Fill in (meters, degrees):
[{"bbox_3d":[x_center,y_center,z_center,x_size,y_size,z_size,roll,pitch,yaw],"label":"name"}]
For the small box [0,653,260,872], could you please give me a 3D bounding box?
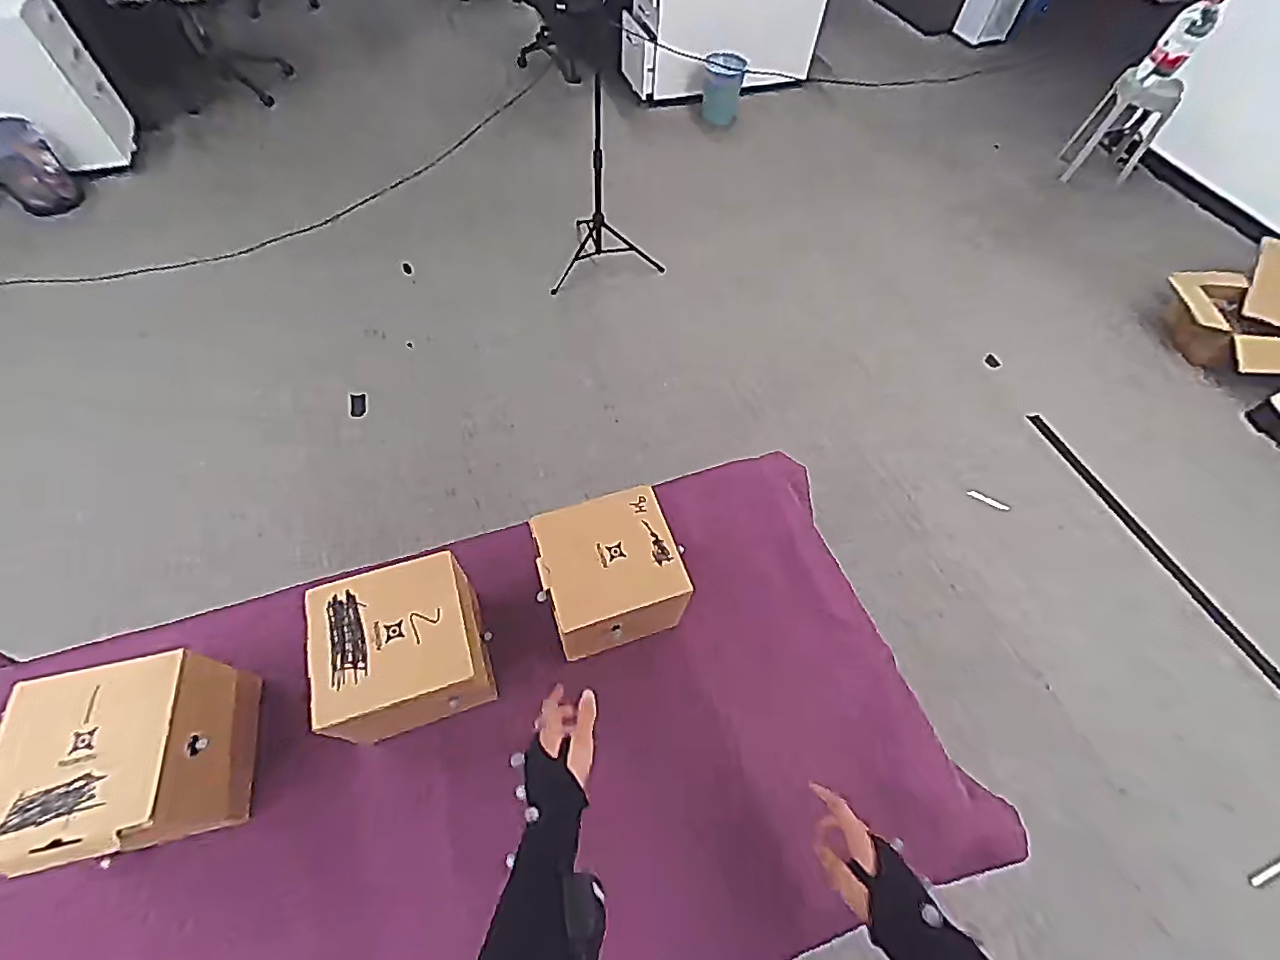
[{"bbox_3d":[-0.573,0.320,0.622,0.168,0.176,0.179,-10,60,-10],"label":"small box"}]
